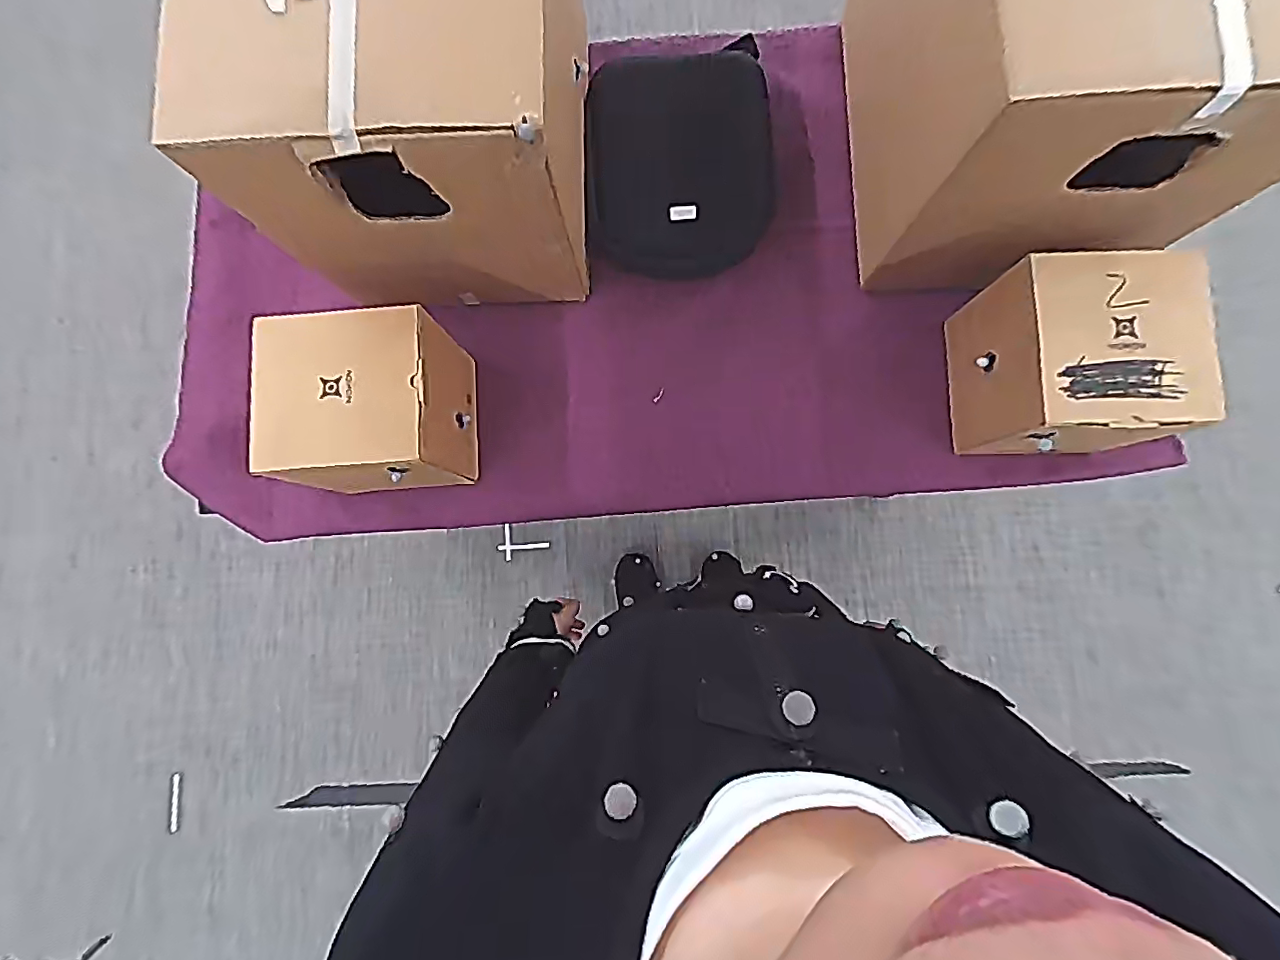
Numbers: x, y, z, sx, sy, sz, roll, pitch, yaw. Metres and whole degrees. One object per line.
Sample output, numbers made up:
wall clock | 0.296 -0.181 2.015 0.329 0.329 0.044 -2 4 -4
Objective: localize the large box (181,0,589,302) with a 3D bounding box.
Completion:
large box | -0.230 -0.453 0.601 0.320 0.320 0.408 -2 86 3

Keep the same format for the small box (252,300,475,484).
small box | -0.308 -0.090 0.633 0.179 0.176 0.168 -5 82 1
